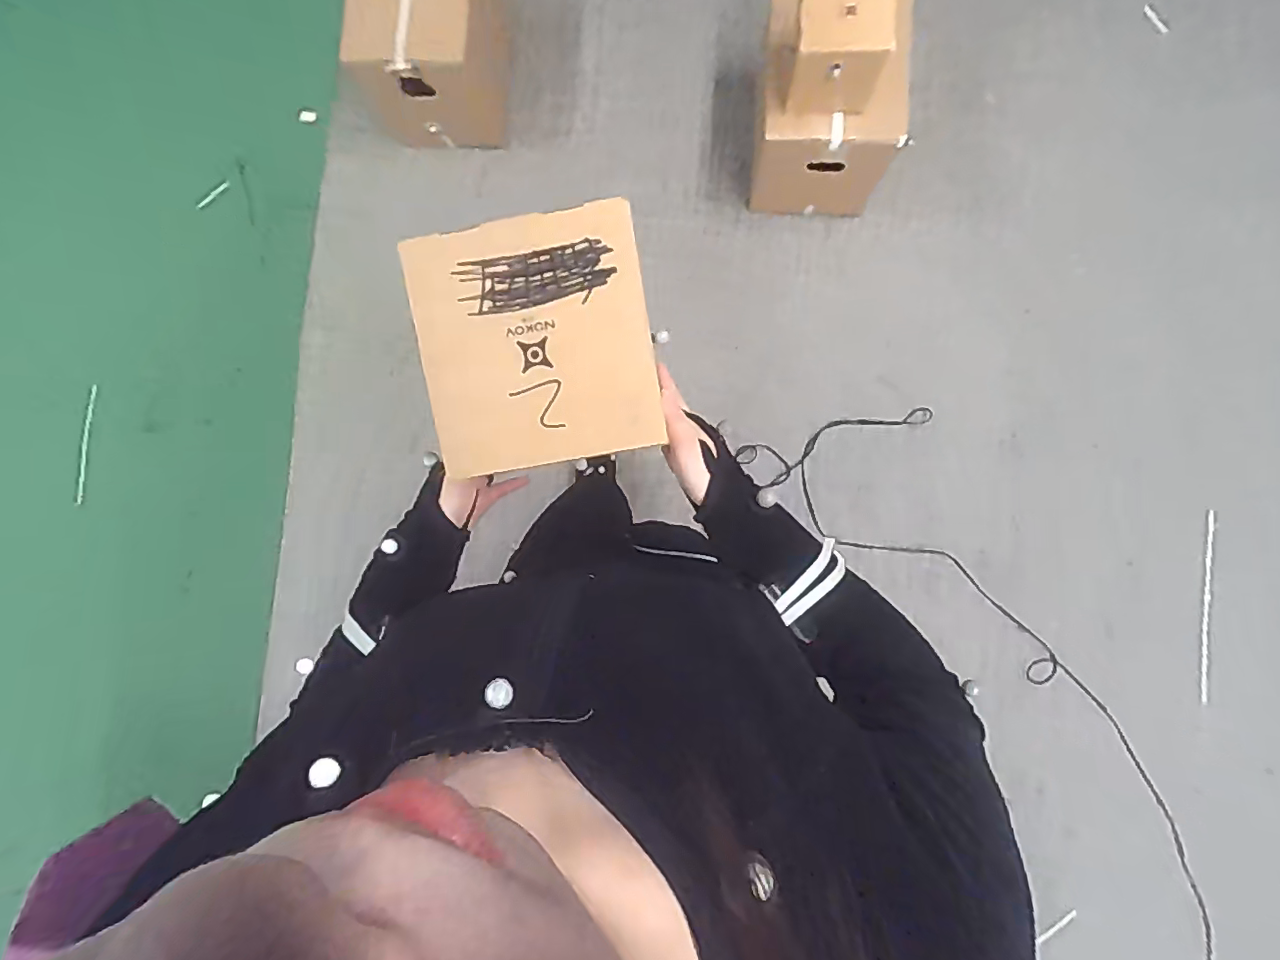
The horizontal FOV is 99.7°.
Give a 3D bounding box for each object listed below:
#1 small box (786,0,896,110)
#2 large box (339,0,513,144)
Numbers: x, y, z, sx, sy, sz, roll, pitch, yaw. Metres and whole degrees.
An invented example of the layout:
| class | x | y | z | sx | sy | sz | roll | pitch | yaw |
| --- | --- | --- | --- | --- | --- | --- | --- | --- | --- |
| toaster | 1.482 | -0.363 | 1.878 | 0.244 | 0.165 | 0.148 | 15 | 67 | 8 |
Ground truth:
| class | x | y | z | sx | sy | sz | roll | pitch | yaw |
| --- | --- | --- | --- | --- | --- | --- | --- | --- | --- |
| small box | 0.406 | -0.896 | 1.111 | 0.179 | 0.176 | 0.168 | 4 | 89 | 7 |
| large box | -0.543 | -1.180 | 1.432 | 0.320 | 0.320 | 0.408 | 4 | 88 | 5 |
